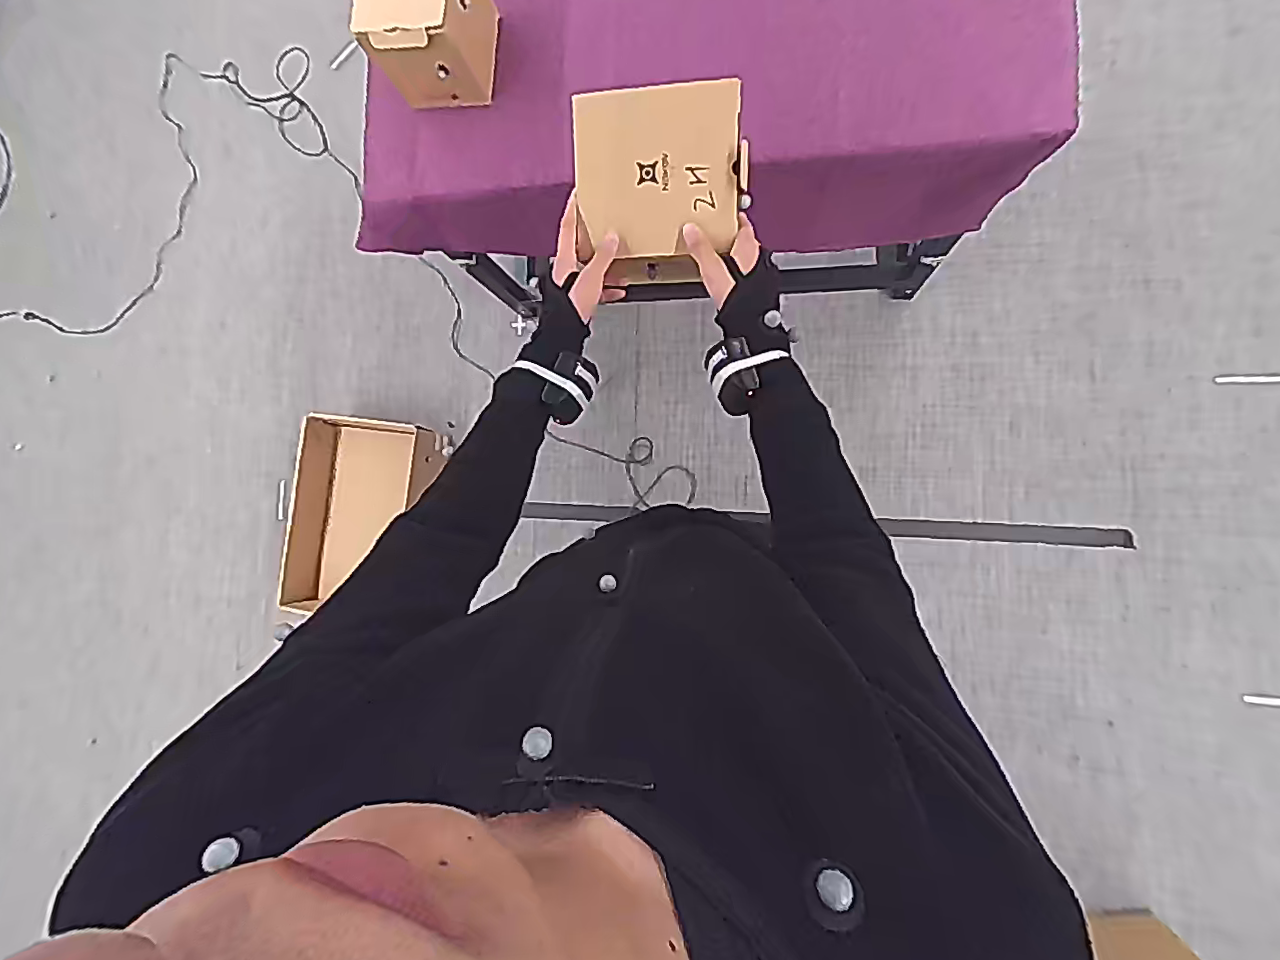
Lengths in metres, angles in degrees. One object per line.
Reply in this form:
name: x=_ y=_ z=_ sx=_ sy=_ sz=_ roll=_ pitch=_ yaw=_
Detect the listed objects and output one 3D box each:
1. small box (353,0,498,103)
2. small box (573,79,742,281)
small box: x=-0.361 y=-0.791 z=0.938 sx=0.168 sy=0.176 sz=0.179 roll=6 pitch=88 yaw=10
small box: x=0.027 y=-0.335 z=0.640 sx=0.179 sy=0.176 sz=0.168 roll=1 pitch=102 yaw=8
